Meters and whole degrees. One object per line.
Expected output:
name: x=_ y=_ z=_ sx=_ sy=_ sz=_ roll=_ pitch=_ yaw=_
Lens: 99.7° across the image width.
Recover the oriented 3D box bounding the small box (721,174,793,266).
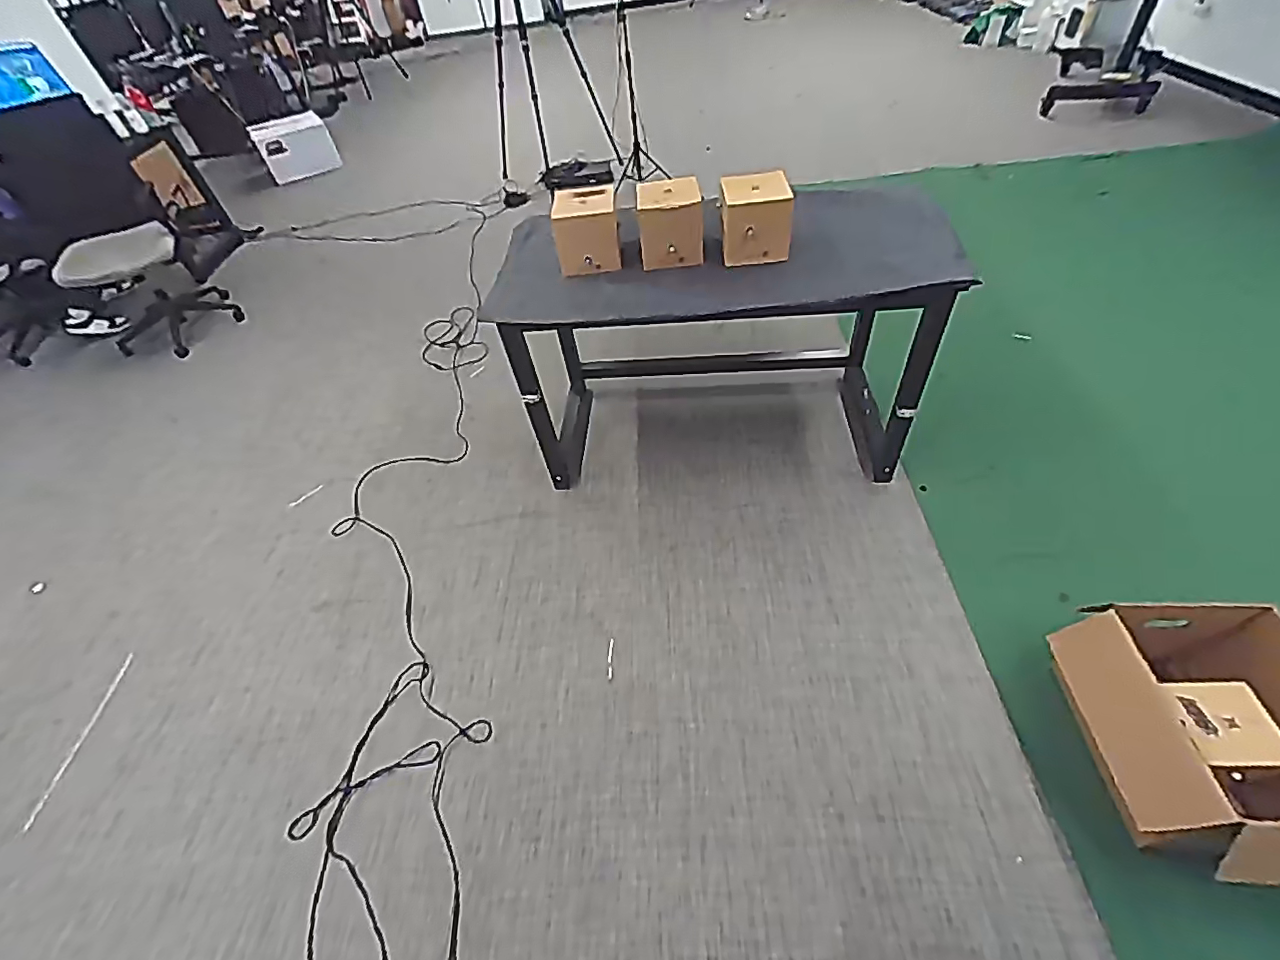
small box: x=0.307 y=-0.686 z=1.444 sx=0.168 sy=0.176 sz=0.179 roll=-5 pitch=48 yaw=5

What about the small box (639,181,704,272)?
small box: x=0.086 y=-0.692 z=1.479 sx=0.168 sy=0.176 sz=0.179 roll=-5 pitch=48 yaw=4
